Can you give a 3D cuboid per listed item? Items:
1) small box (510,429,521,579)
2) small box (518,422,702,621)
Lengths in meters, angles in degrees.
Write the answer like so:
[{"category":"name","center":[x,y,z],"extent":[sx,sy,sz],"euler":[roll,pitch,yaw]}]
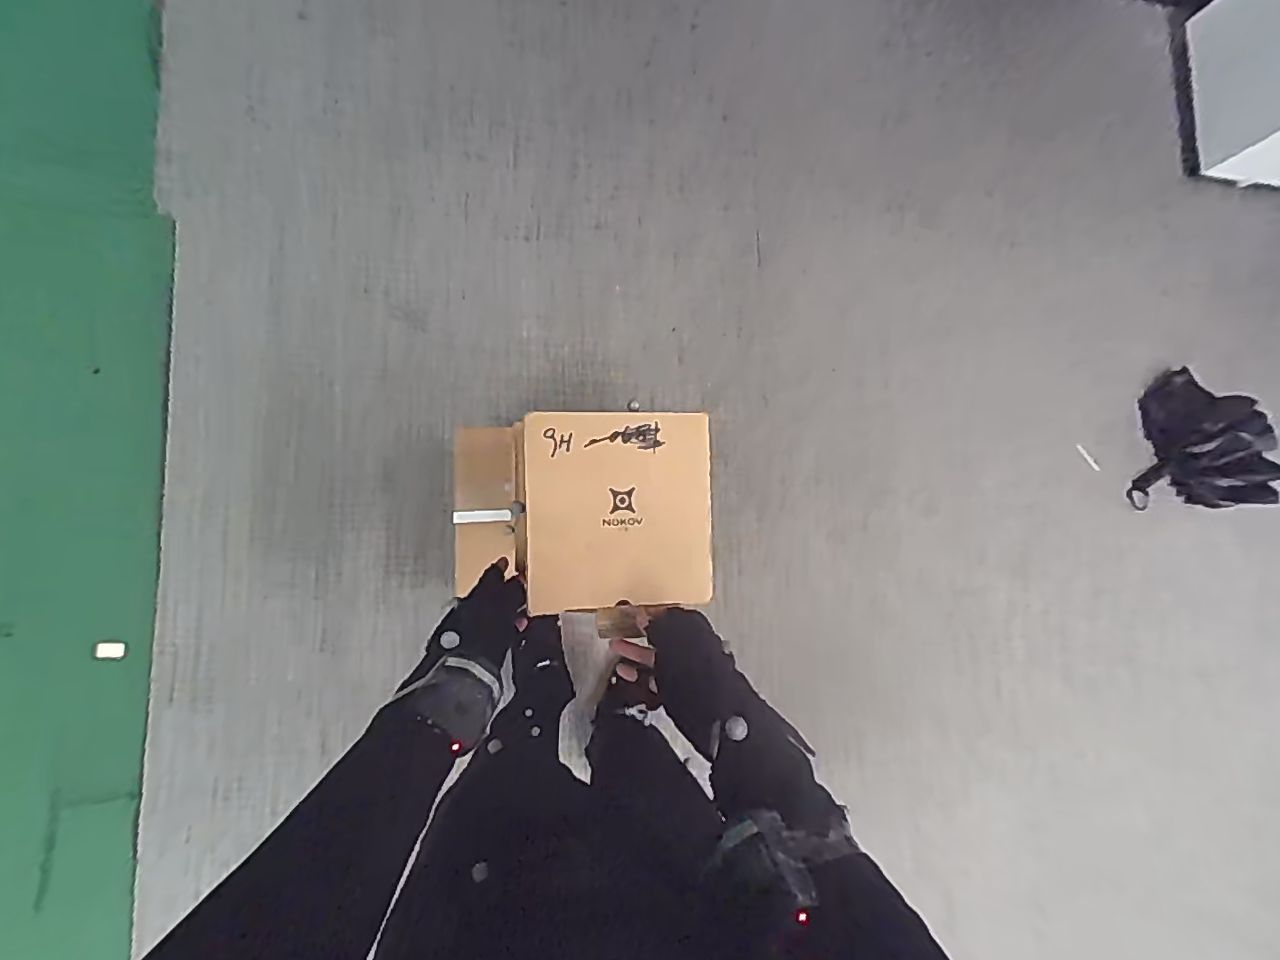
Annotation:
[{"category":"small box","center":[-0.083,0.026,0.718],"extent":[0.168,0.176,0.179],"euler":[-2,89,-12]},{"category":"small box","center":[-0.038,0.033,0.560],"extent":[0.168,0.176,0.179],"euler":[-2,91,-11]}]
